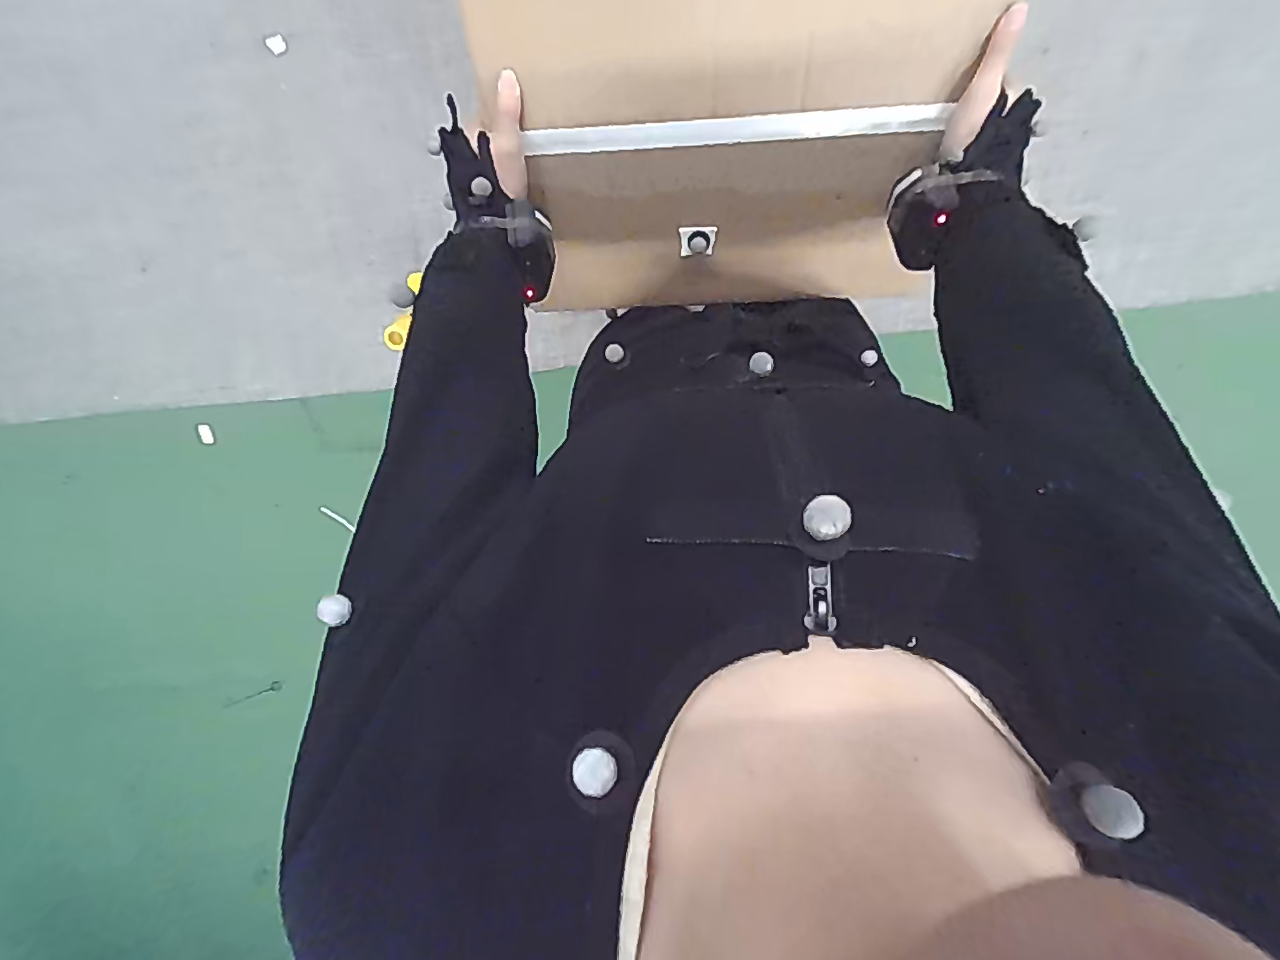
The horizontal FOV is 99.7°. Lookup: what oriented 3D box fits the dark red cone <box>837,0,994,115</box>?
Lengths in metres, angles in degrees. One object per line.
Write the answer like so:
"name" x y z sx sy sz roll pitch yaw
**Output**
"dark red cone" 0.474 -0.750 0.865 0.202 0.394 0.201 -12 114 5
